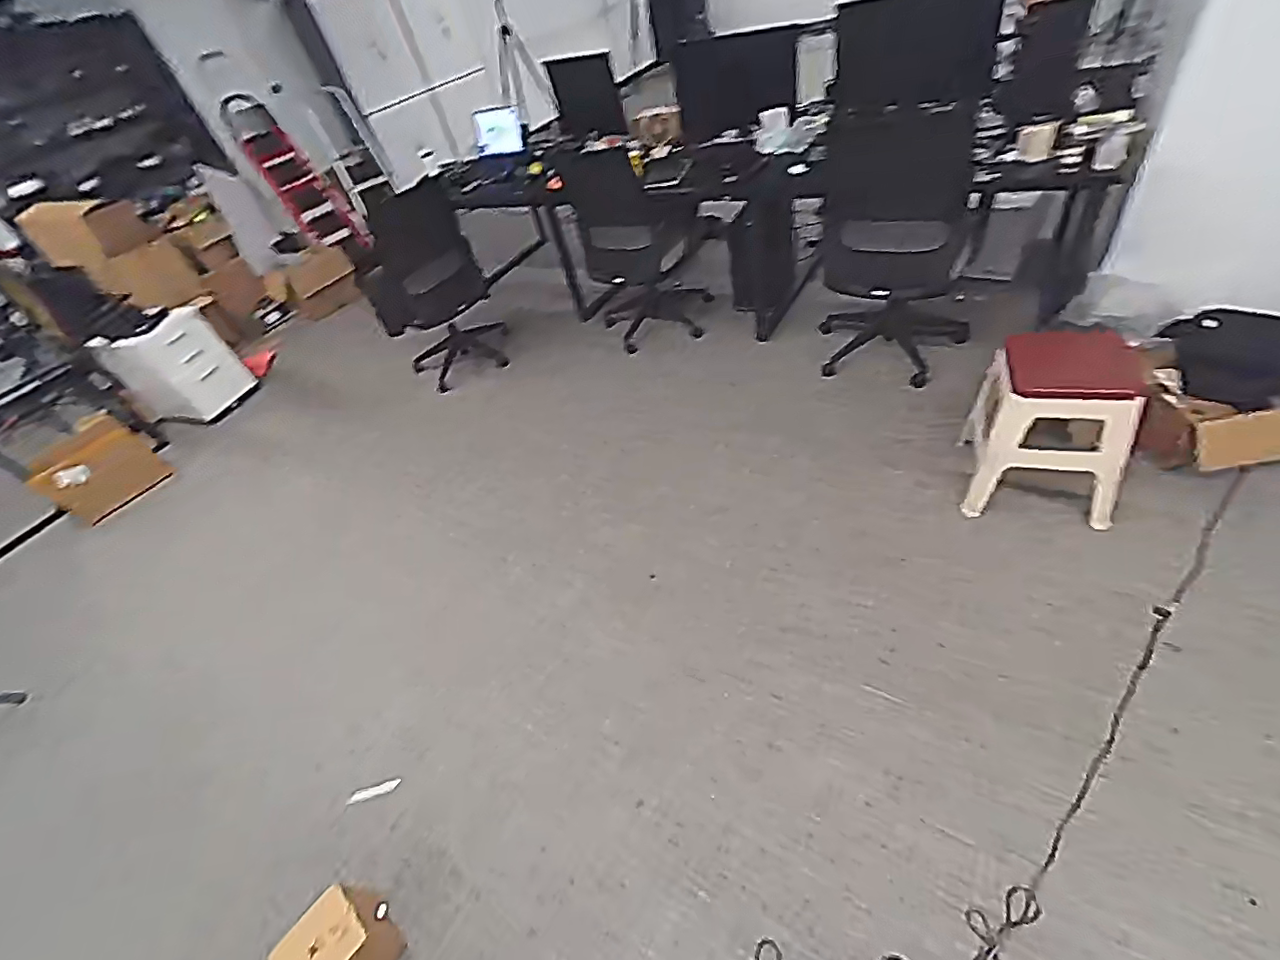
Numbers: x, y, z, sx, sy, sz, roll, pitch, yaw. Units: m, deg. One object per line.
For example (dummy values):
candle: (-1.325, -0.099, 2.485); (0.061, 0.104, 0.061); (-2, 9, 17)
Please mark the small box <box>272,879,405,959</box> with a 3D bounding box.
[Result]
small box: (-0.680, 1.069, 1.233); (0.168, 0.176, 0.179); (25, 57, 35)
